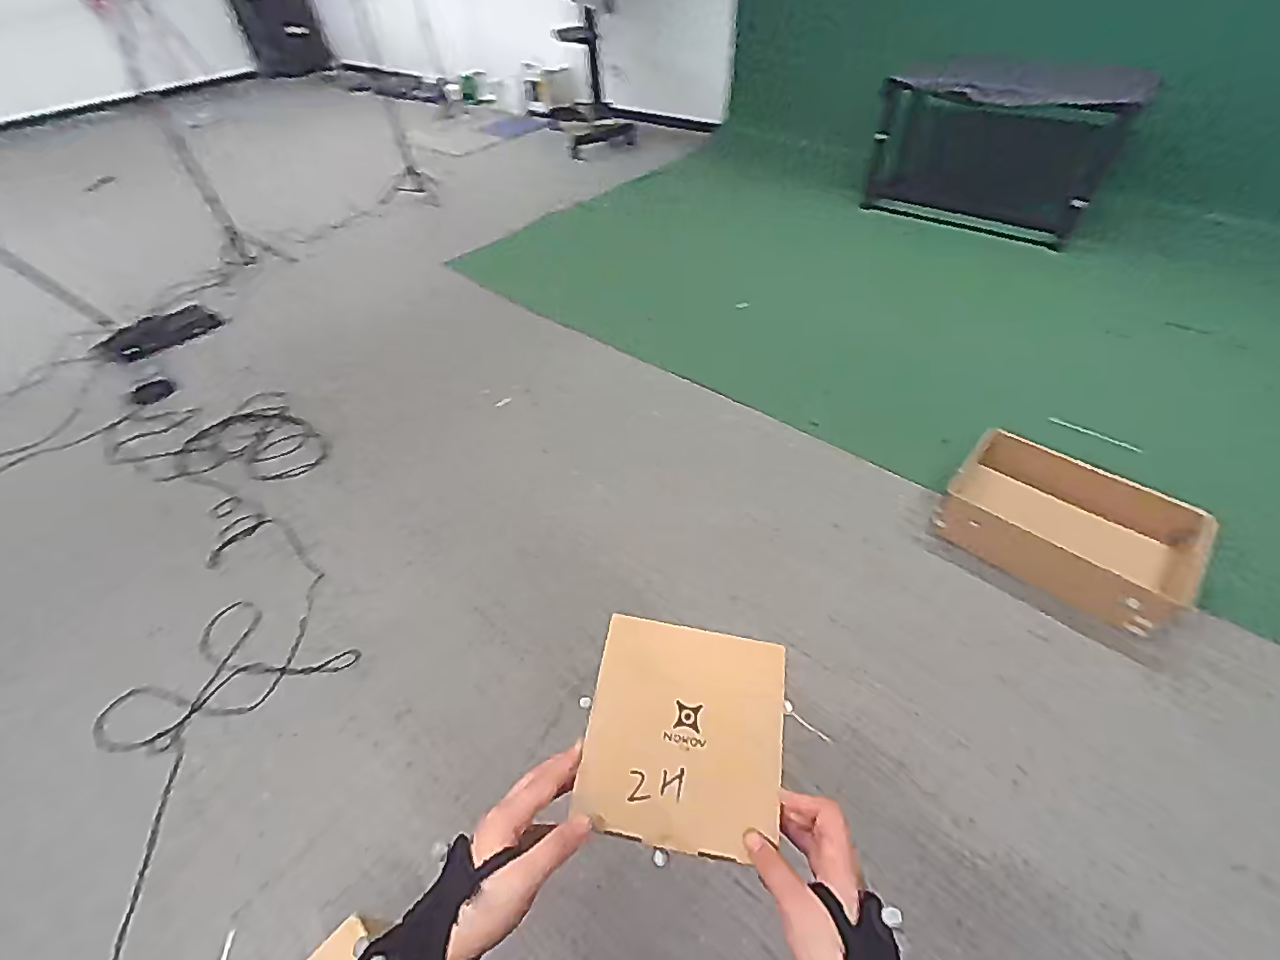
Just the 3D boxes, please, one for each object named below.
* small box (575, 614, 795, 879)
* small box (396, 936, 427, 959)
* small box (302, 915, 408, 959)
[{"bbox_3d":[0.043,0.255,0.522,0.168,0.176,0.179,11,57,6],"label":"small box"},{"bbox_3d":[-0.481,0.995,1.011,0.179,0.176,0.168,31,56,29],"label":"small box"},{"bbox_3d":[-0.481,0.875,0.897,0.179,0.176,0.168,32,56,30],"label":"small box"}]
